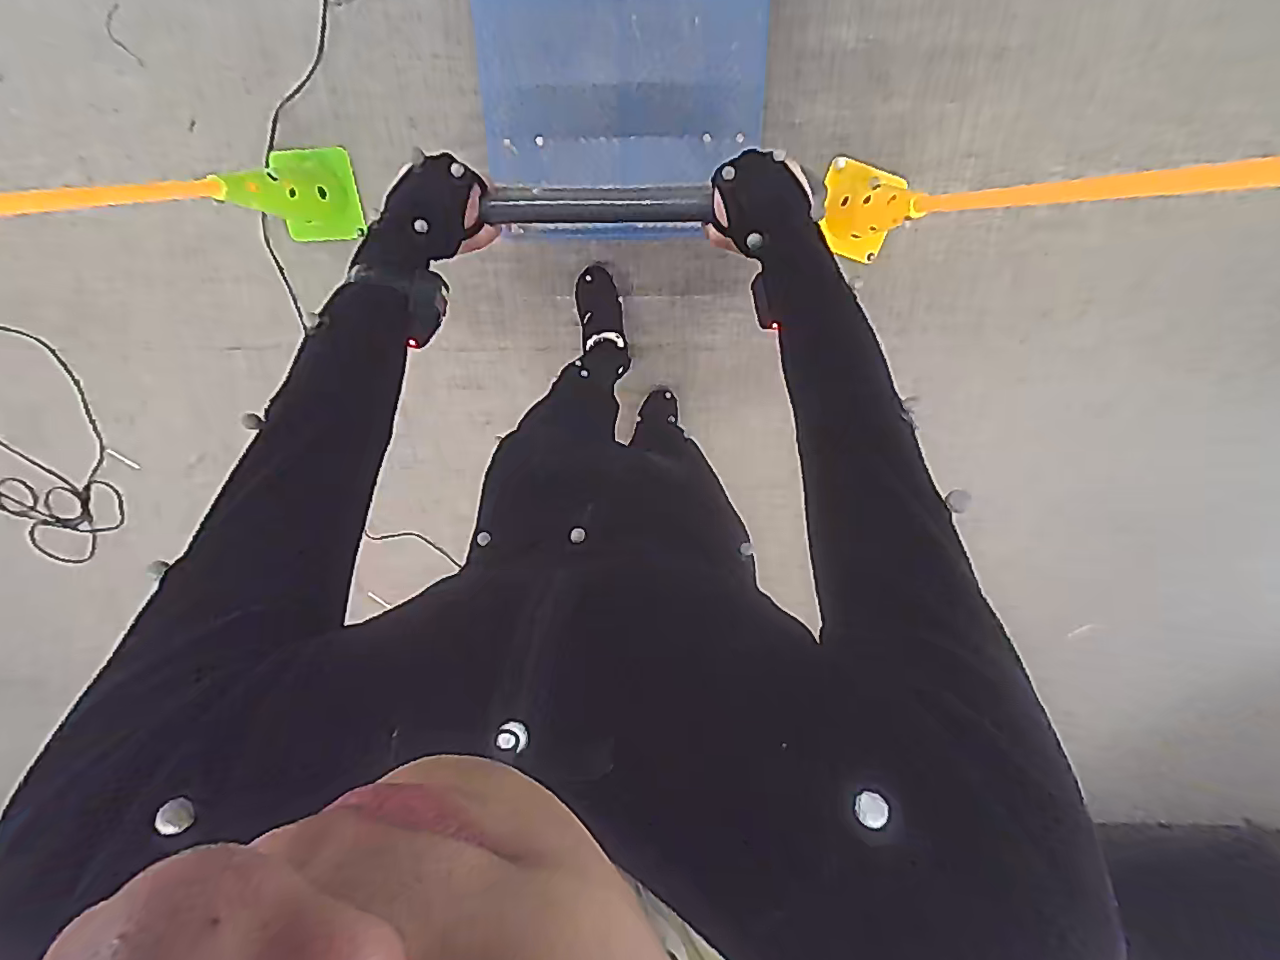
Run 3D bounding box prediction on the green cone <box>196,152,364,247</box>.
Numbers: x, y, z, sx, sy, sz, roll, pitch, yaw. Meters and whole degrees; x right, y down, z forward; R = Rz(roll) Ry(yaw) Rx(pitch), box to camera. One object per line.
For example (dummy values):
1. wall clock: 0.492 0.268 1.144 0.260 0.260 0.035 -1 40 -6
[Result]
1. green cone: -0.810 -0.622 1.186 0.202 0.368 0.200 -2 114 4
